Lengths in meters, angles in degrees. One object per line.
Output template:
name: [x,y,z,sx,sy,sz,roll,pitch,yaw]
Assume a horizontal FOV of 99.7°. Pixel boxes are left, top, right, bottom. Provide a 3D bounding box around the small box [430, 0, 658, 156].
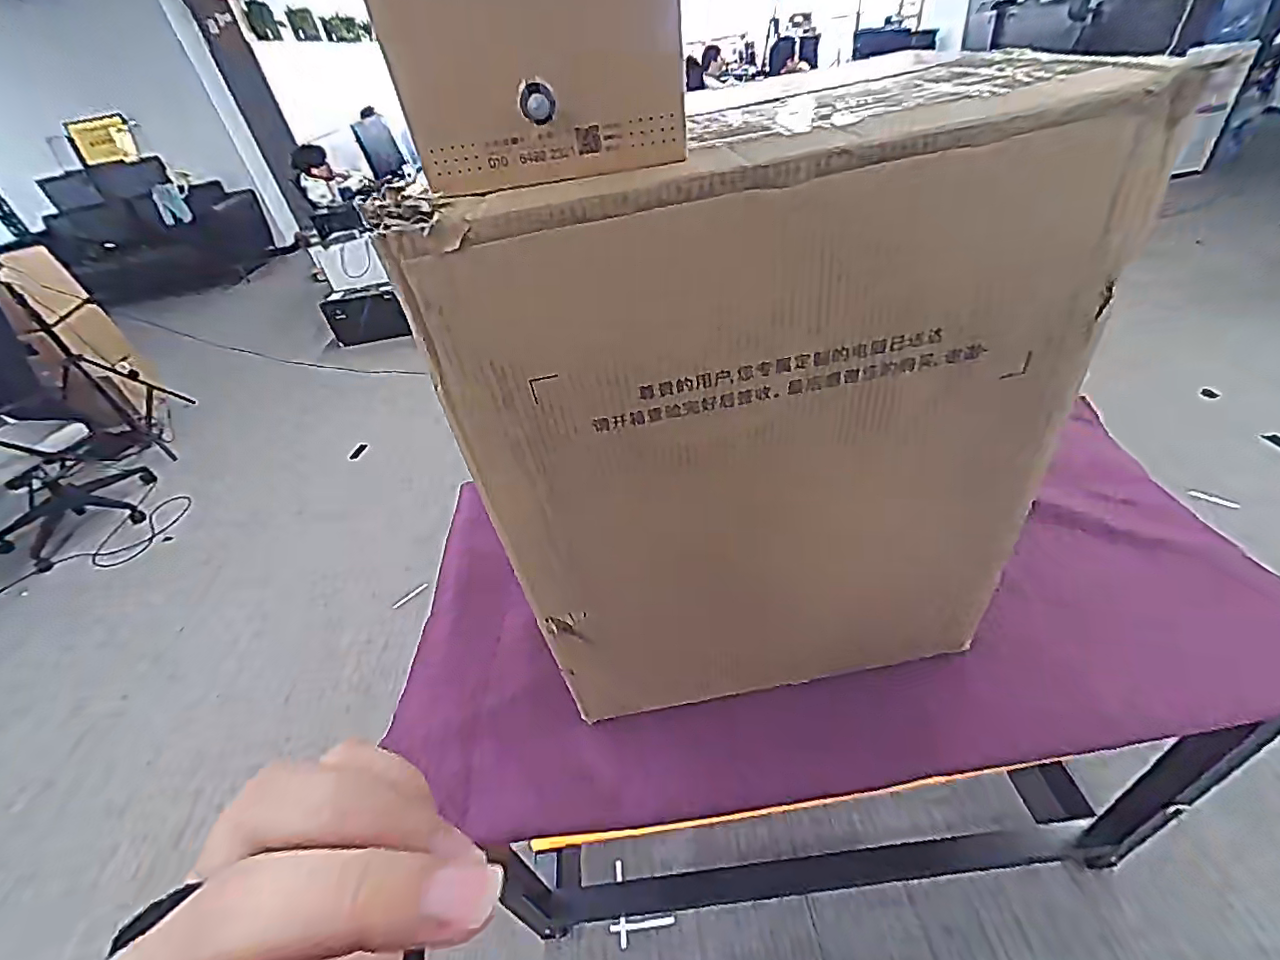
small box: [-0.081,-0.411,0.487,0.179,0.176,0.168,-10,39,-1]
